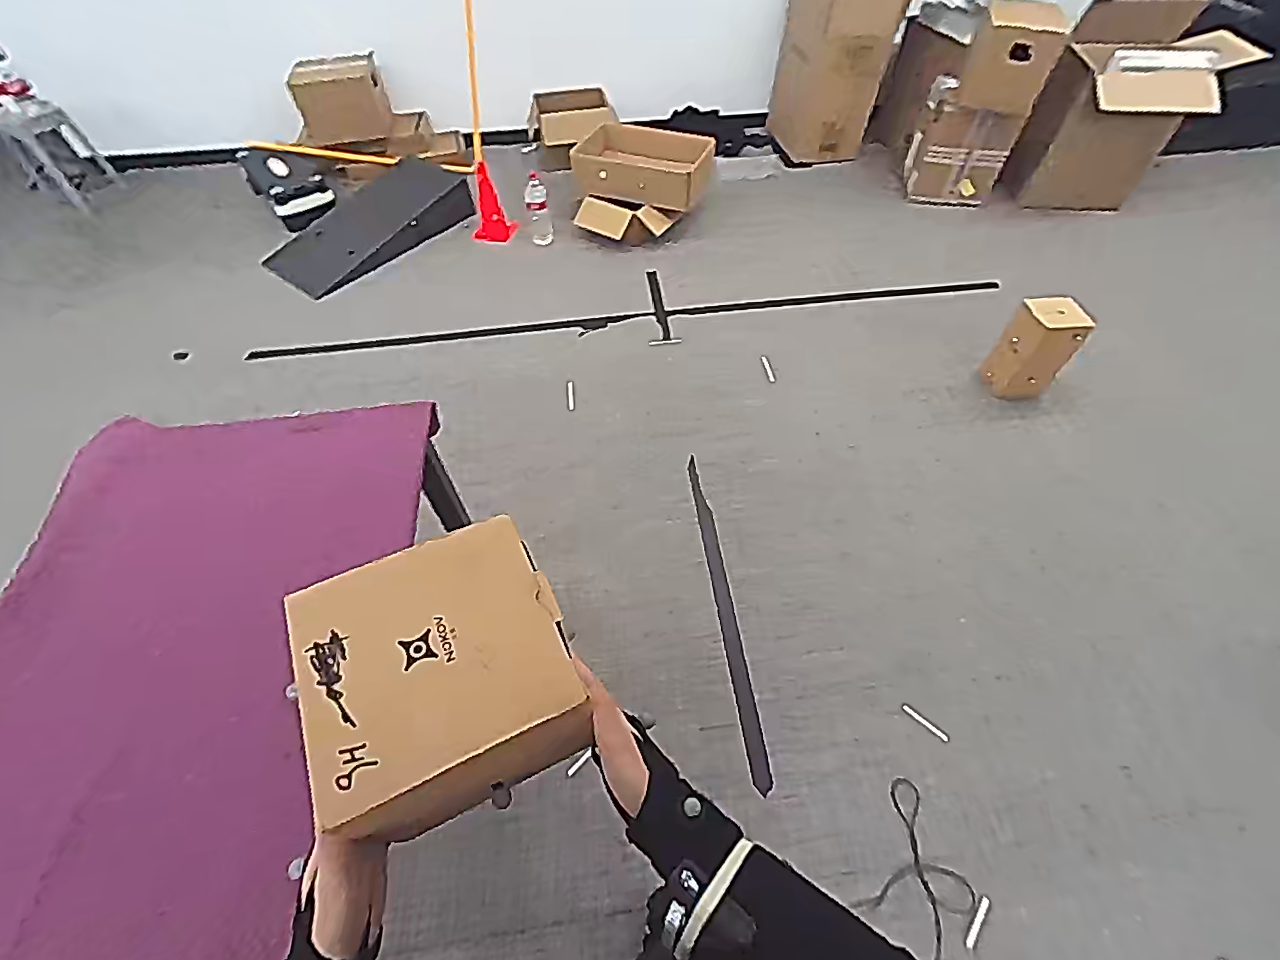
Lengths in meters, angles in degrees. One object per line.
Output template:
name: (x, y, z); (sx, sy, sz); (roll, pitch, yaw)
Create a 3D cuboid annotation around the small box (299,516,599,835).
small box: (-0.145, 0.163, 0.448); (0.179, 0.176, 0.168); (-20, 57, -17)

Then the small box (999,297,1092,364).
small box: (1.440, -0.531, 1.933); (0.179, 0.176, 0.168); (-4, 52, -1)
